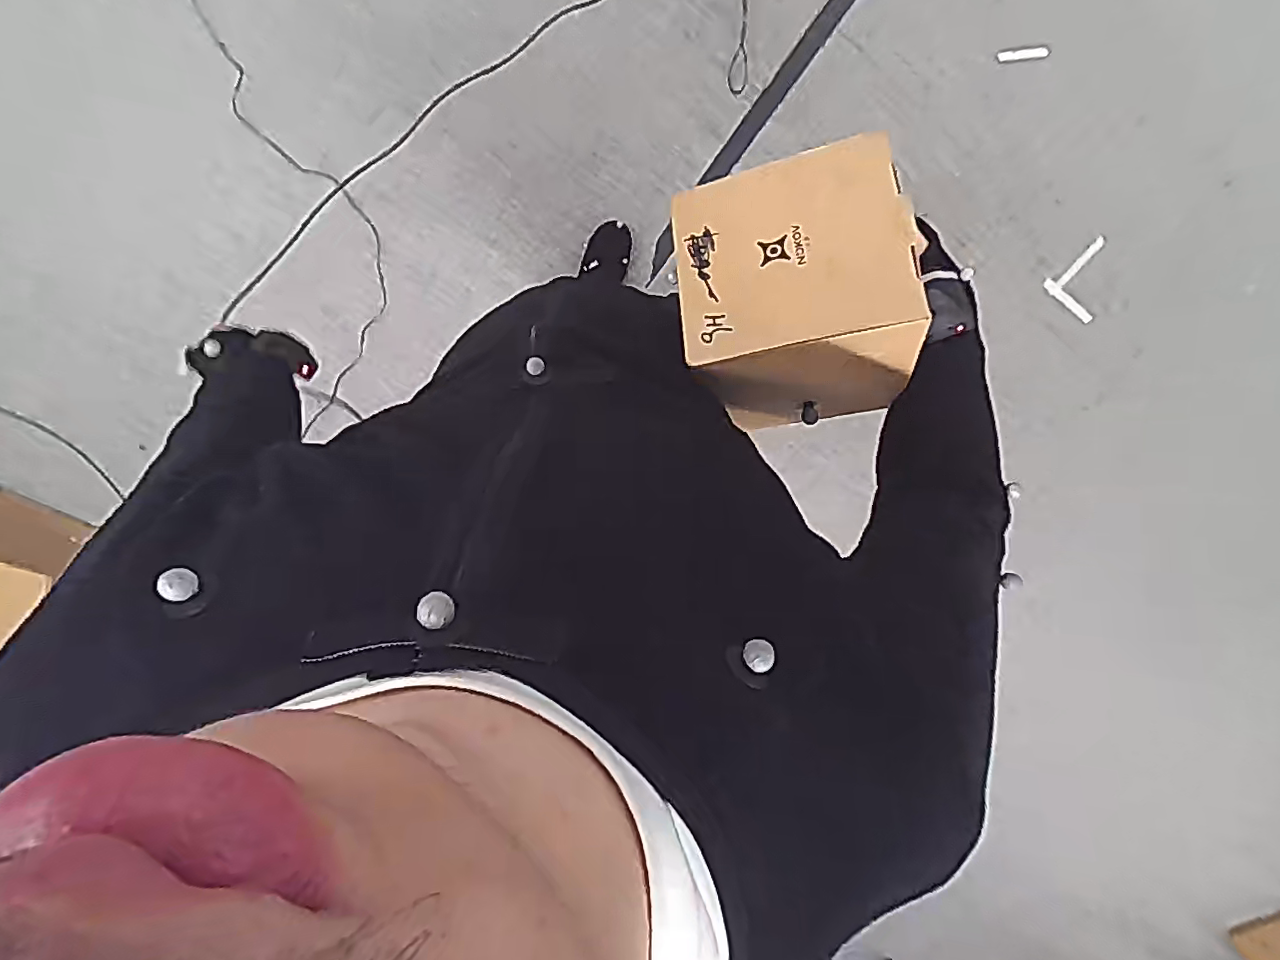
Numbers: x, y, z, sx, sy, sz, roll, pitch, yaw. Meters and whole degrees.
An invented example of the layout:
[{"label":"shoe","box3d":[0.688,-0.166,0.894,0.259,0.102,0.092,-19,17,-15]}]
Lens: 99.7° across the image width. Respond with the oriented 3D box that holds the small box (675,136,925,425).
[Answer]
[{"label":"small box","box3d":[0.143,-0.165,0.506,0.179,0.176,0.168,-9,73,17]}]
